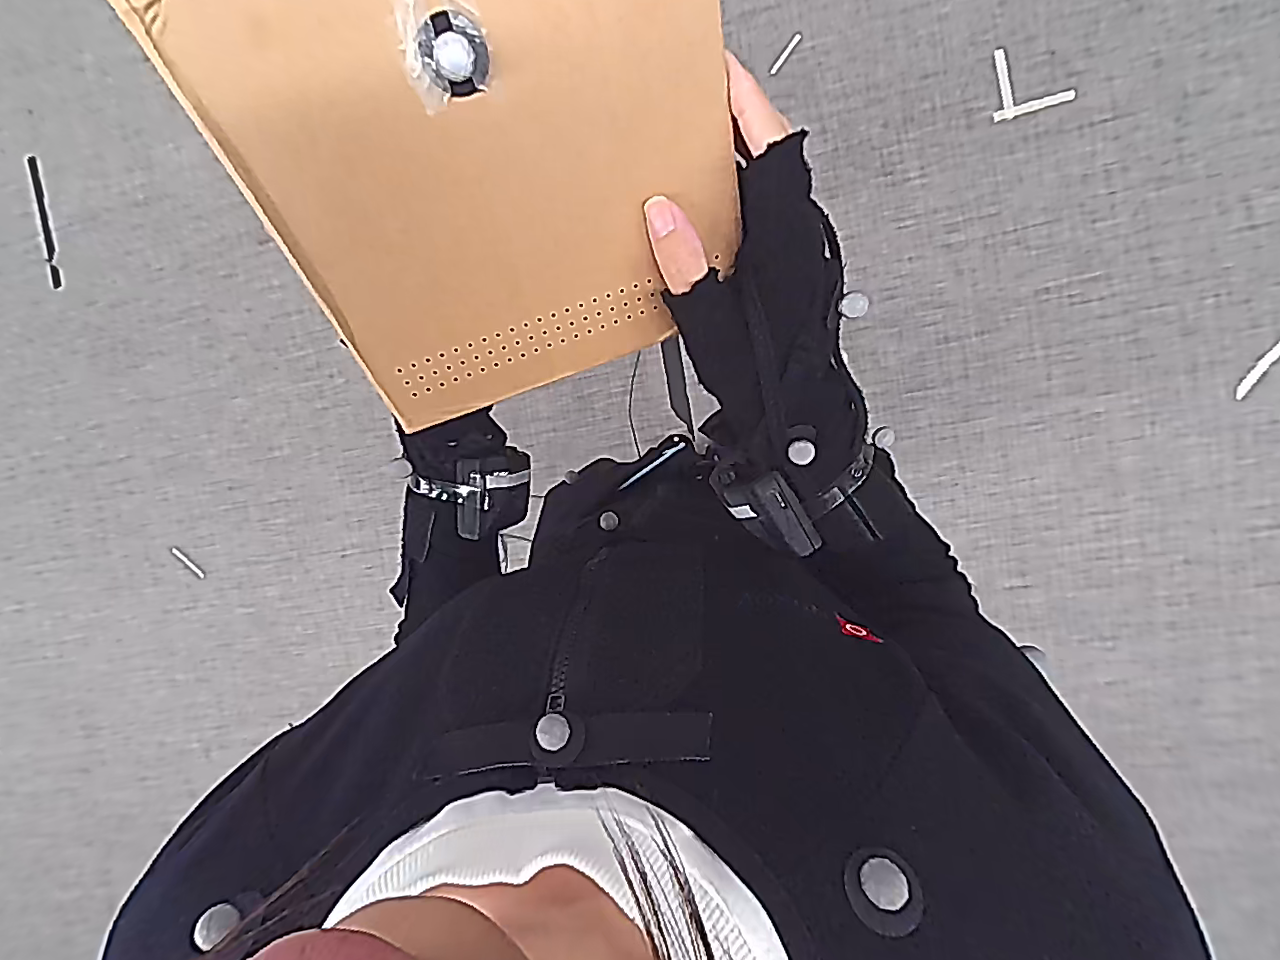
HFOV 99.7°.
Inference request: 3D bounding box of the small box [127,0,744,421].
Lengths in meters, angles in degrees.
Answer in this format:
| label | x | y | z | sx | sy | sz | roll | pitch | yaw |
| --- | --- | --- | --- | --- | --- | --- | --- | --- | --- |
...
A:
| label | x | y | z | sx | sy | sz | roll | pitch | yaw |
| --- | --- | --- | --- | --- | --- | --- | --- | --- | --- |
| small box | -0.064 | -0.155 | 0.265 | 0.179 | 0.168 | 0.176 | -20 | 134 | -2 |
